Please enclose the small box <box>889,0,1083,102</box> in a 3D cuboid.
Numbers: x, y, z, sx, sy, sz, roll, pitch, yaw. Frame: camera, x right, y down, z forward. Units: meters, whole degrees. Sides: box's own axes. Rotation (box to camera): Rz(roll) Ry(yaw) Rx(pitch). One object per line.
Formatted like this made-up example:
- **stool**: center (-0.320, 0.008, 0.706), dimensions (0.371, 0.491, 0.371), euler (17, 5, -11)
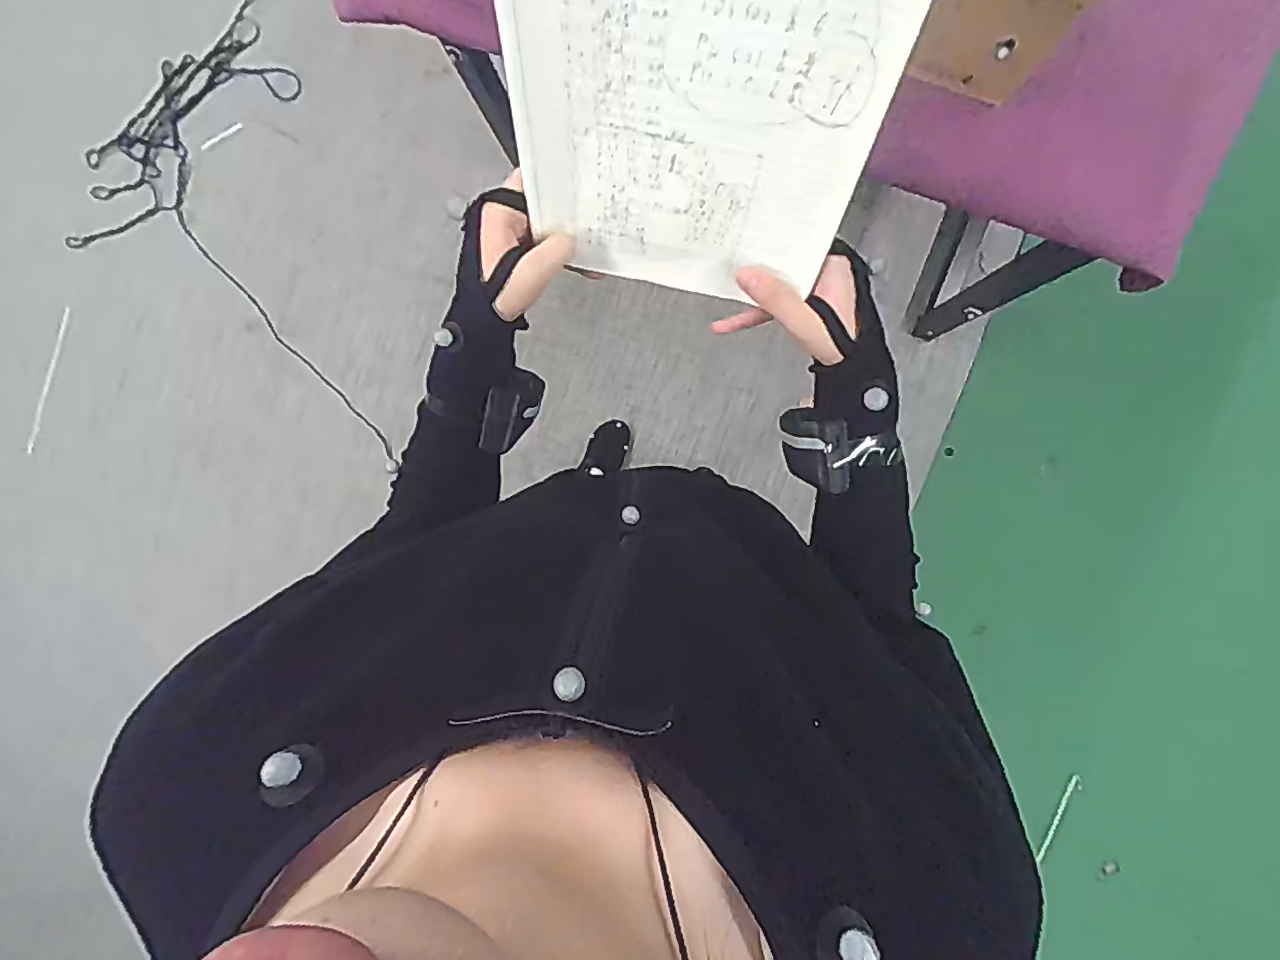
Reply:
- **small box**: center (0.429, -0.609, 0.651), dimensions (0.168, 0.176, 0.179), euler (22, 92, 2)
